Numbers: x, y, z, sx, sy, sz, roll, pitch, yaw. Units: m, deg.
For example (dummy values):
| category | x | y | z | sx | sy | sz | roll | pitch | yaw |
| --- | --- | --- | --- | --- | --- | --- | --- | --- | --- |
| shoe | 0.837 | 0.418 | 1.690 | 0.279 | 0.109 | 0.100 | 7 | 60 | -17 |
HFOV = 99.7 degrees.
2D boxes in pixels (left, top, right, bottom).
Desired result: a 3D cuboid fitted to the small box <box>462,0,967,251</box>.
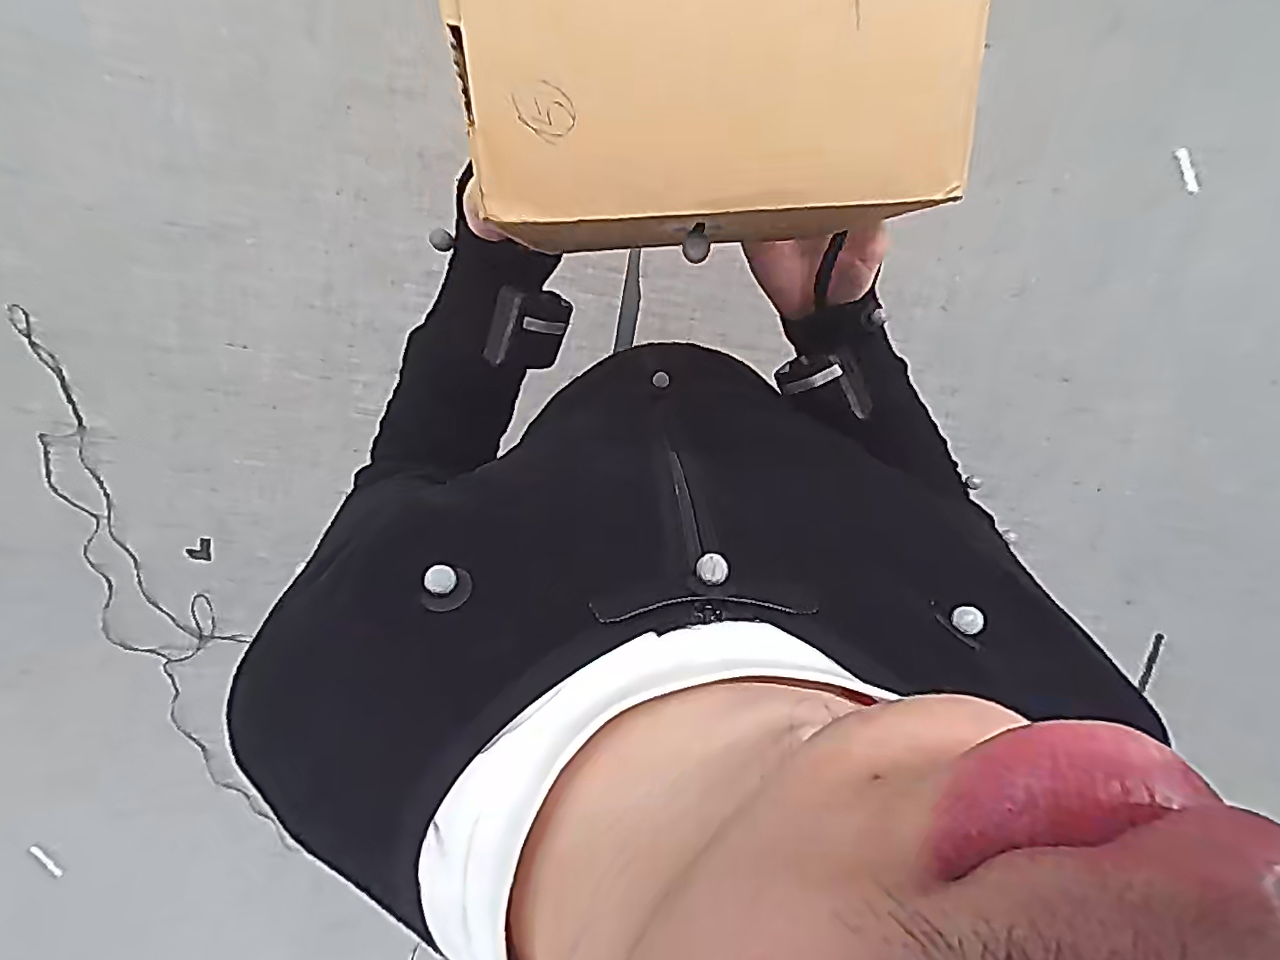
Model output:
| category | x | y | z | sx | sy | sz | roll | pitch | yaw |
| --- | --- | --- | --- | --- | --- | --- | --- | --- | --- |
| small box | 0.024 | -0.205 | 0.255 | 0.179 | 0.176 | 0.168 | -3 | 110 | 0 |
